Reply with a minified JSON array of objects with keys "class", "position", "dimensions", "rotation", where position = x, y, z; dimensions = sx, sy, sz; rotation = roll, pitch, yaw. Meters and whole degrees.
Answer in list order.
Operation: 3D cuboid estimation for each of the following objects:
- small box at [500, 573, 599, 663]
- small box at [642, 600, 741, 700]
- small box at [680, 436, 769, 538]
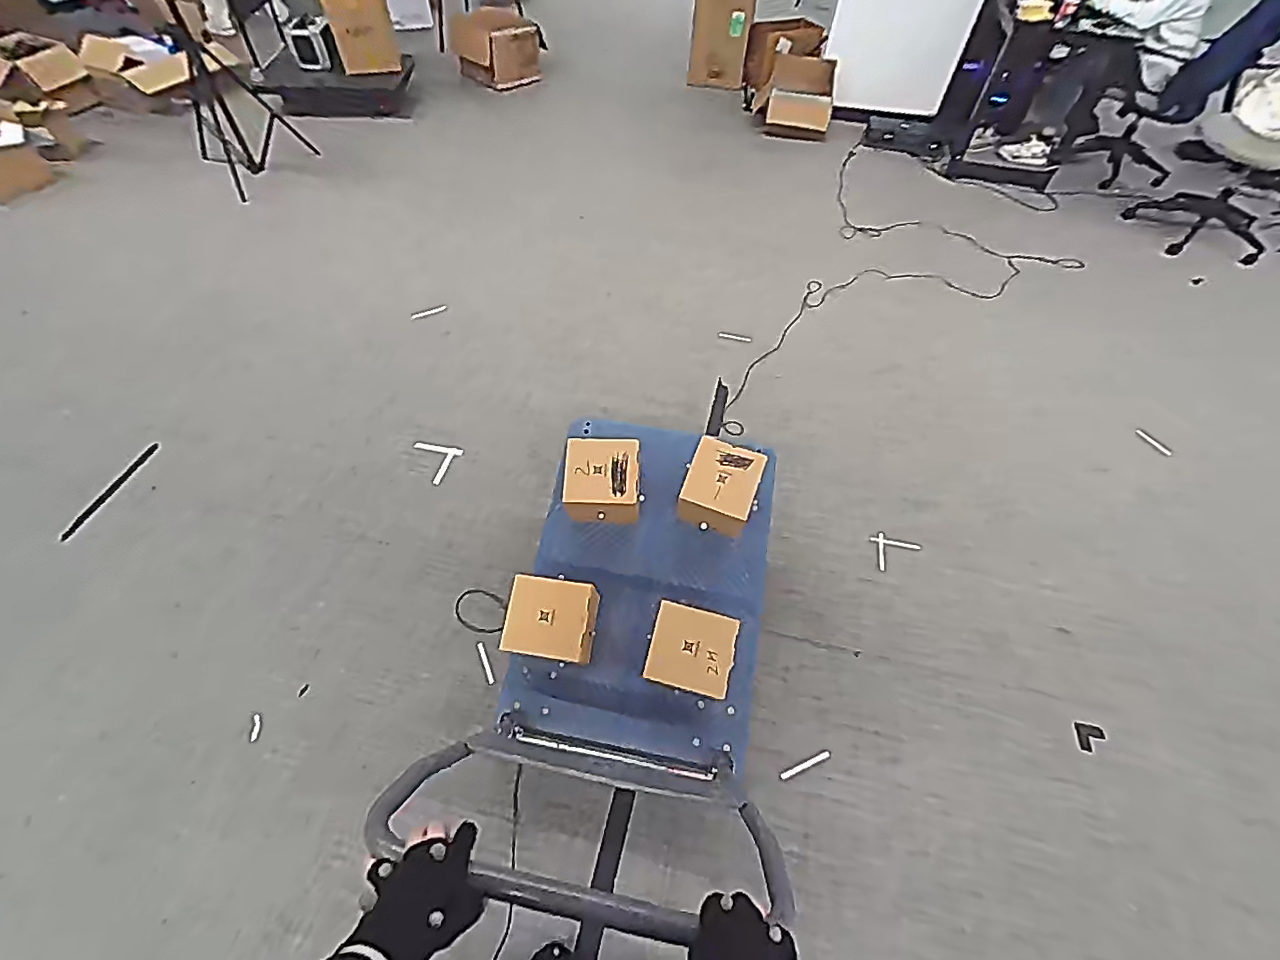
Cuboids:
[{"class":"small box","position":[-0.198,0.321,1.237],"dimensions":[0.179,0.176,0.168],"rotation":[8,69,3]},{"class":"small box","position":[0.112,0.382,1.204],"dimensions":[0.179,0.176,0.168],"rotation":[14,70,7]},{"class":"small box","position":[0.202,0.023,1.342],"dimensions":[0.168,0.176,0.179],"rotation":[20,72,9]}]
